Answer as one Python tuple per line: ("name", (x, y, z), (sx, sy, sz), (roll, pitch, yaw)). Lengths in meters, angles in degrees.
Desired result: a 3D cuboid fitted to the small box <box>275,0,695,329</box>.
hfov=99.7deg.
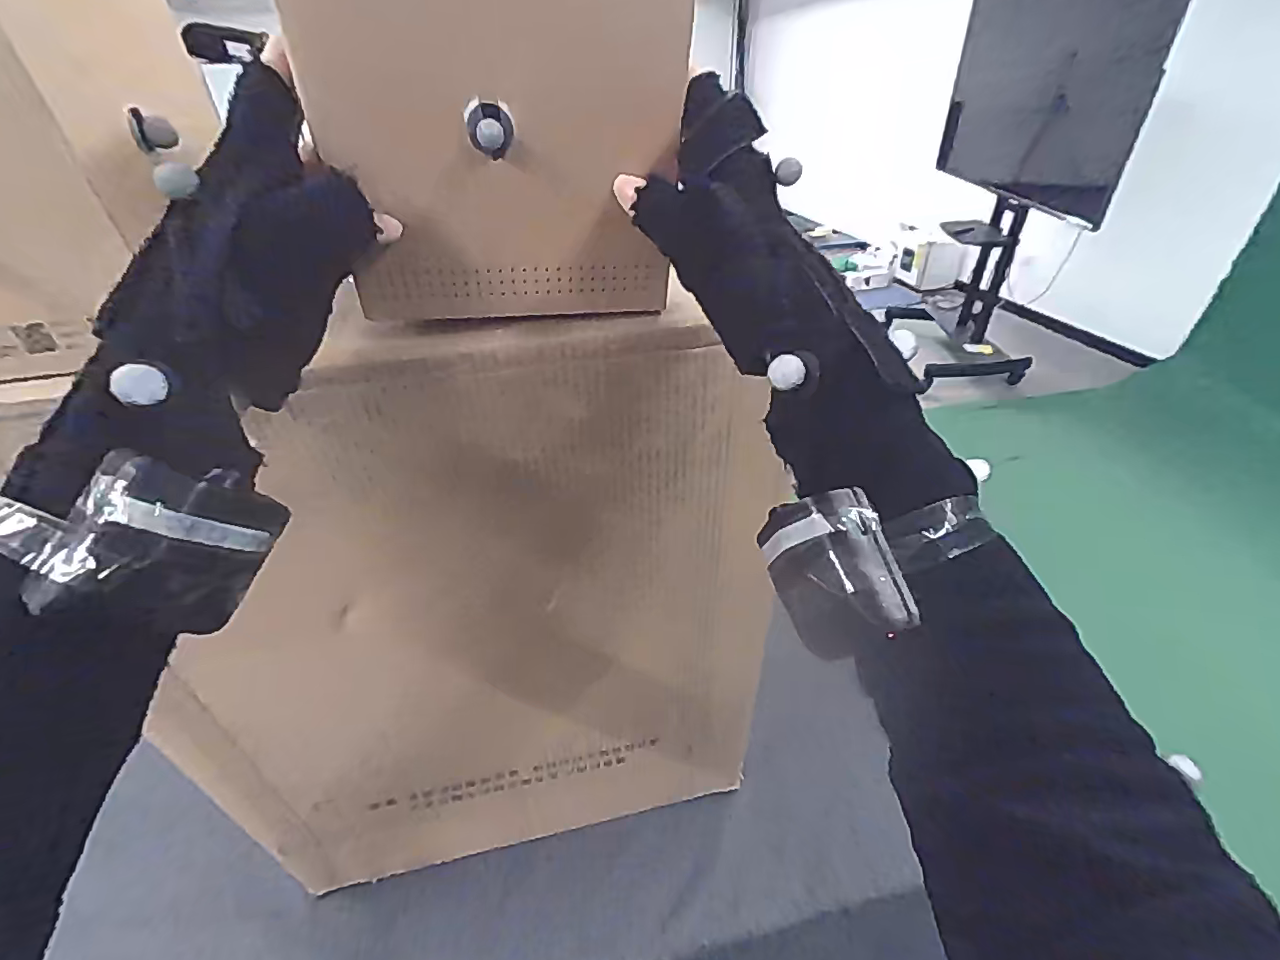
("small box", (-0.078, -0.205, 0.327), (0.179, 0.176, 0.168), (-6, 42, -10))
